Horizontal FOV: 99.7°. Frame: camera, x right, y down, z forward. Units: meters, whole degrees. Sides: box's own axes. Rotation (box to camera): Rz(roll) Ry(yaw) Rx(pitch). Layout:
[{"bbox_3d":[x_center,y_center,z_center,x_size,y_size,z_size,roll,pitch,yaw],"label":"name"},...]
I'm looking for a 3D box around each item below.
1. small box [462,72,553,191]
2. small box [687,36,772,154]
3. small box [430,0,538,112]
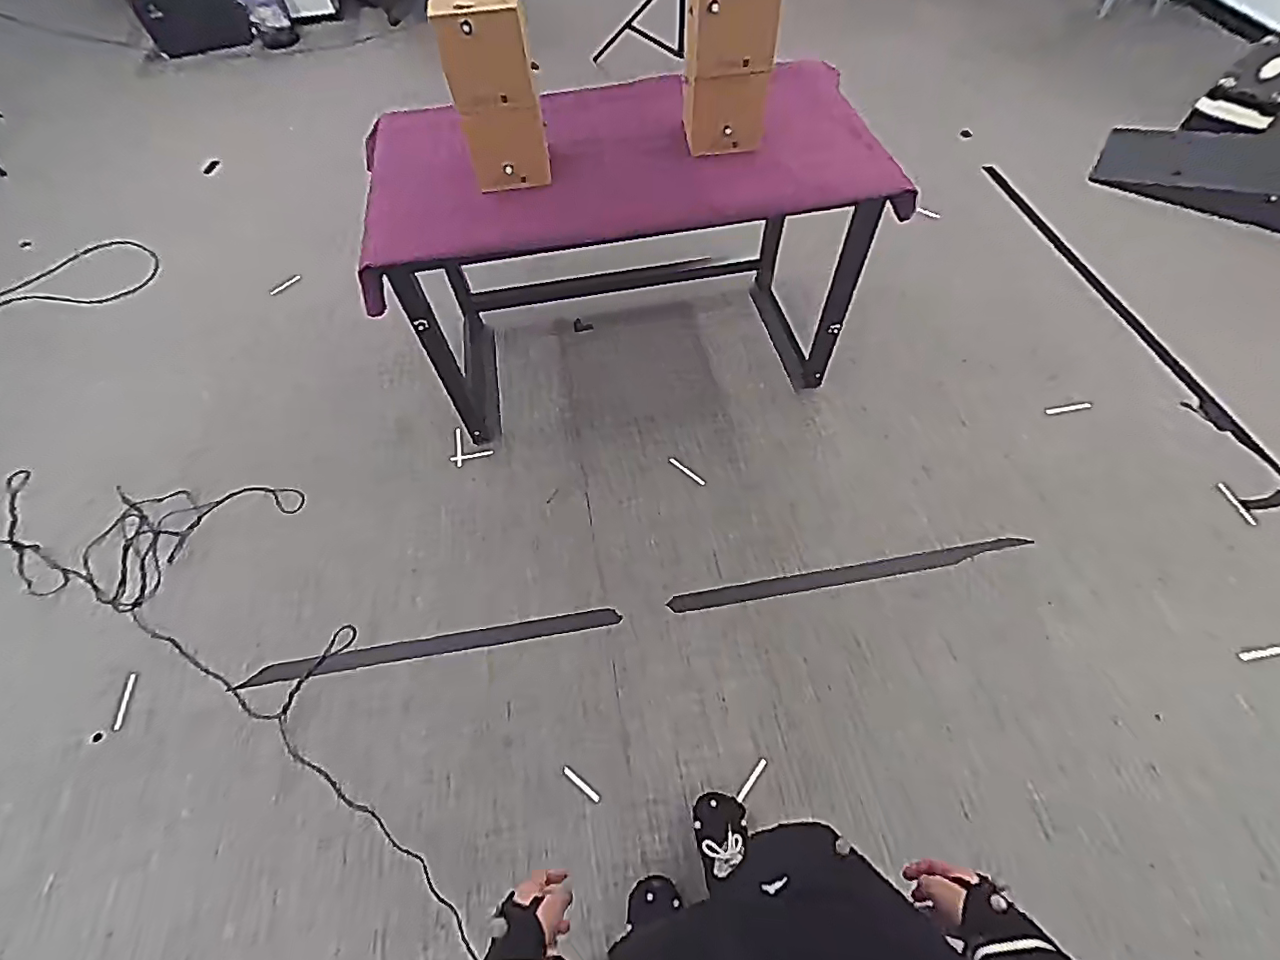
[{"bbox_3d":[-0.295,-0.789,1.224,0.168,0.176,0.179,-8,60,-2],"label":"small box"},{"bbox_3d":[0.200,-0.895,1.263,0.168,0.176,0.179,-5,59,1],"label":"small box"},{"bbox_3d":[-0.303,-0.872,1.083,0.168,0.176,0.179,-8,59,-2],"label":"small box"}]
